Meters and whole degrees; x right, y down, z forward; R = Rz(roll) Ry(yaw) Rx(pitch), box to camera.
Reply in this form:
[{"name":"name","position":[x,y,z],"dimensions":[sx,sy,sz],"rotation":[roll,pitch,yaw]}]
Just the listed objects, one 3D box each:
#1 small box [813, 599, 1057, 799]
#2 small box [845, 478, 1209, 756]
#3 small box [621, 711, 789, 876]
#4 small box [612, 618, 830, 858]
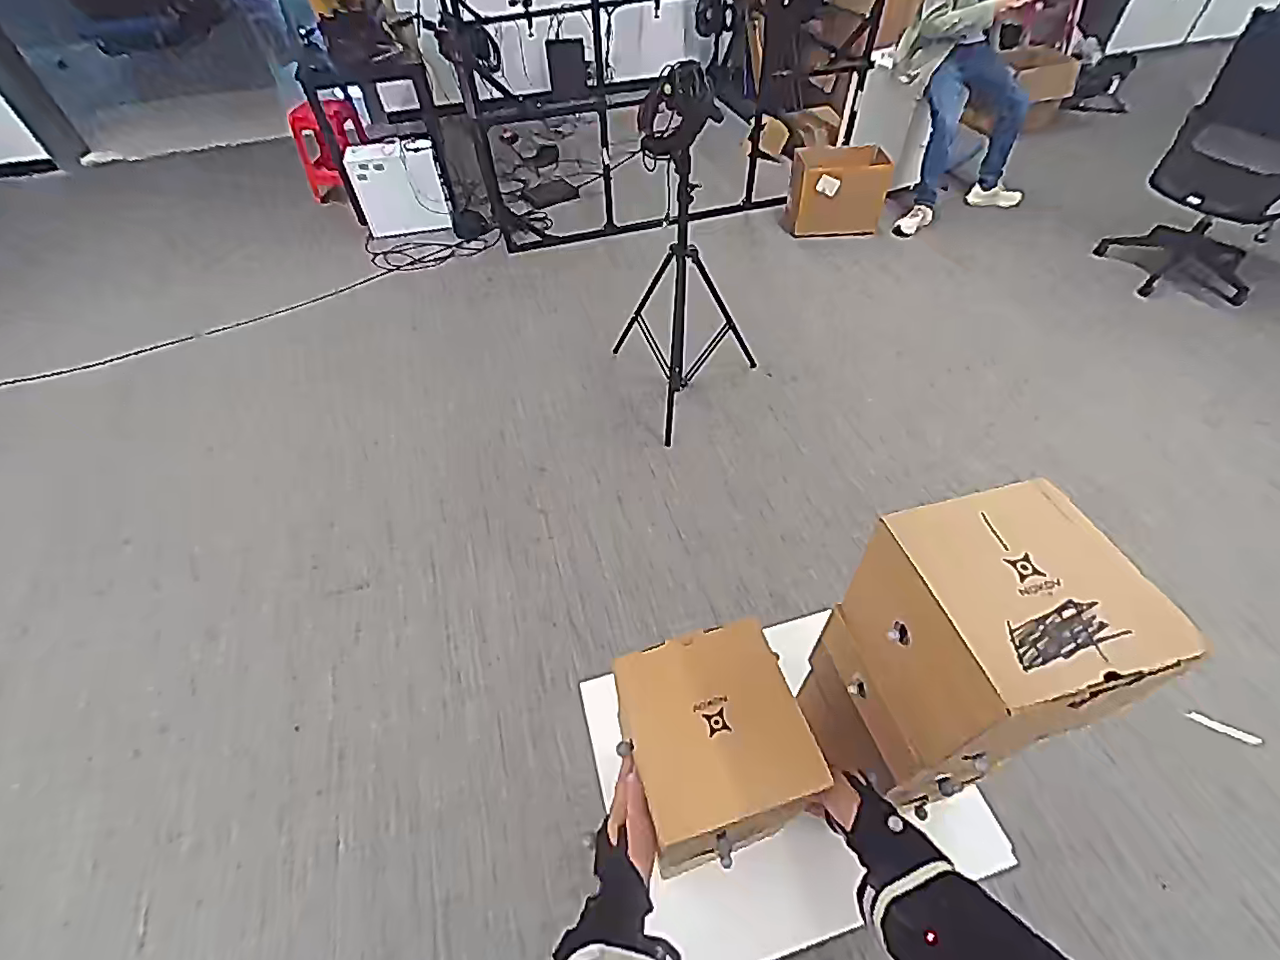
[{"name":"small box","position":[0.319,0.233,0.617],"dimensions":[0.168,0.176,0.179],"rotation":[-13,51,-7]},{"name":"small box","position":[0.313,0.130,0.489],"dimensions":[0.168,0.176,0.179],"rotation":[-13,49,-6]},{"name":"small box","position":[0.078,0.387,0.711],"dimensions":[0.168,0.176,0.179],"rotation":[-15,51,-10]},{"name":"small box","position":[0.075,0.283,0.585],"dimensions":[0.168,0.176,0.179],"rotation":[-14,49,-10]}]
